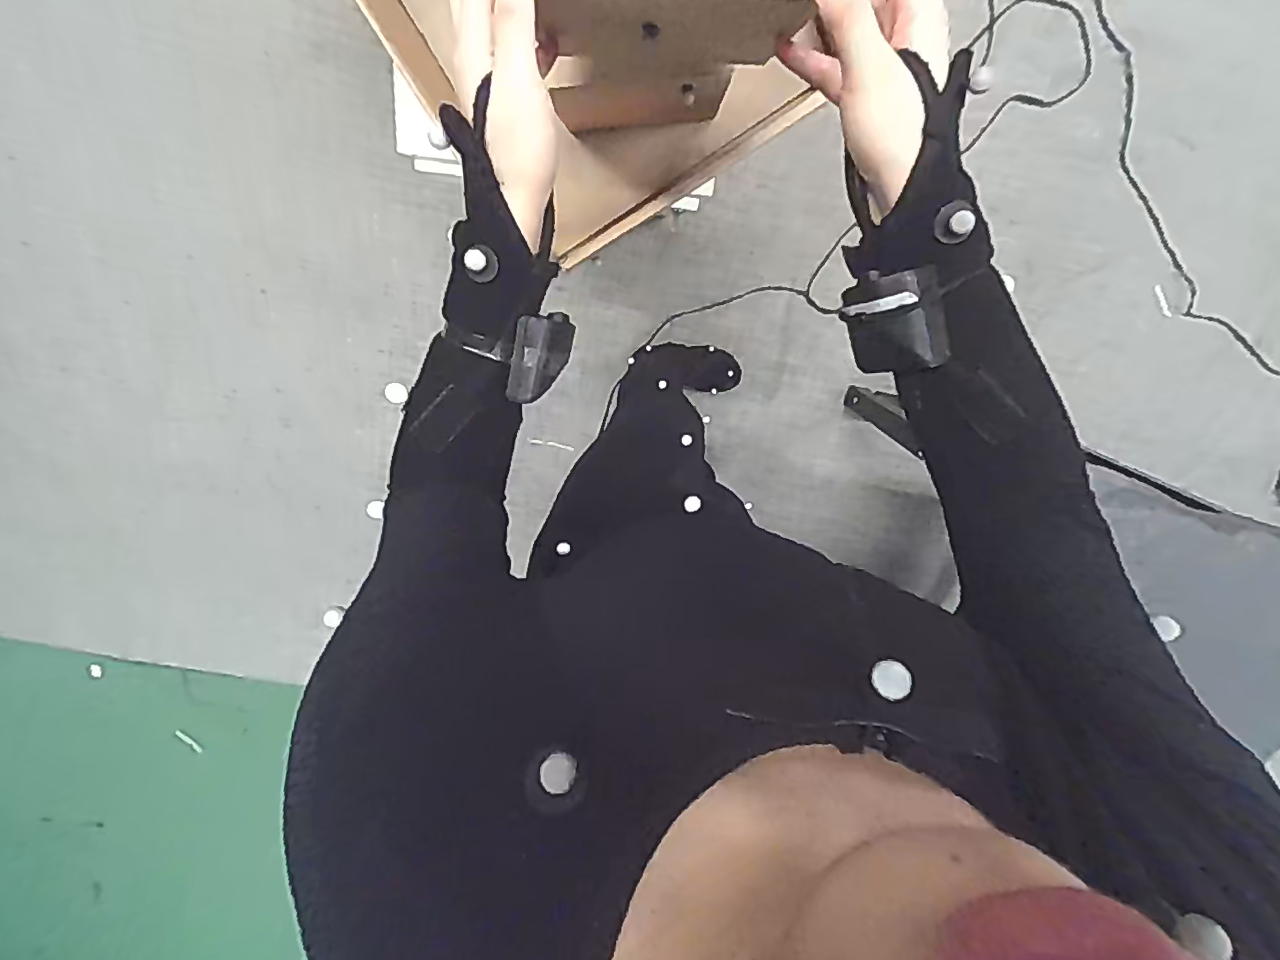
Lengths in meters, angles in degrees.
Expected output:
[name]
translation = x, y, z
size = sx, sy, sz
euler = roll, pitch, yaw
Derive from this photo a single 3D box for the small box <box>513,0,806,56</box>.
[small box]
translation = 0.012, -0.371, 0.317
size = 0.179, 0.176, 0.168
euler = 2, 117, -1
